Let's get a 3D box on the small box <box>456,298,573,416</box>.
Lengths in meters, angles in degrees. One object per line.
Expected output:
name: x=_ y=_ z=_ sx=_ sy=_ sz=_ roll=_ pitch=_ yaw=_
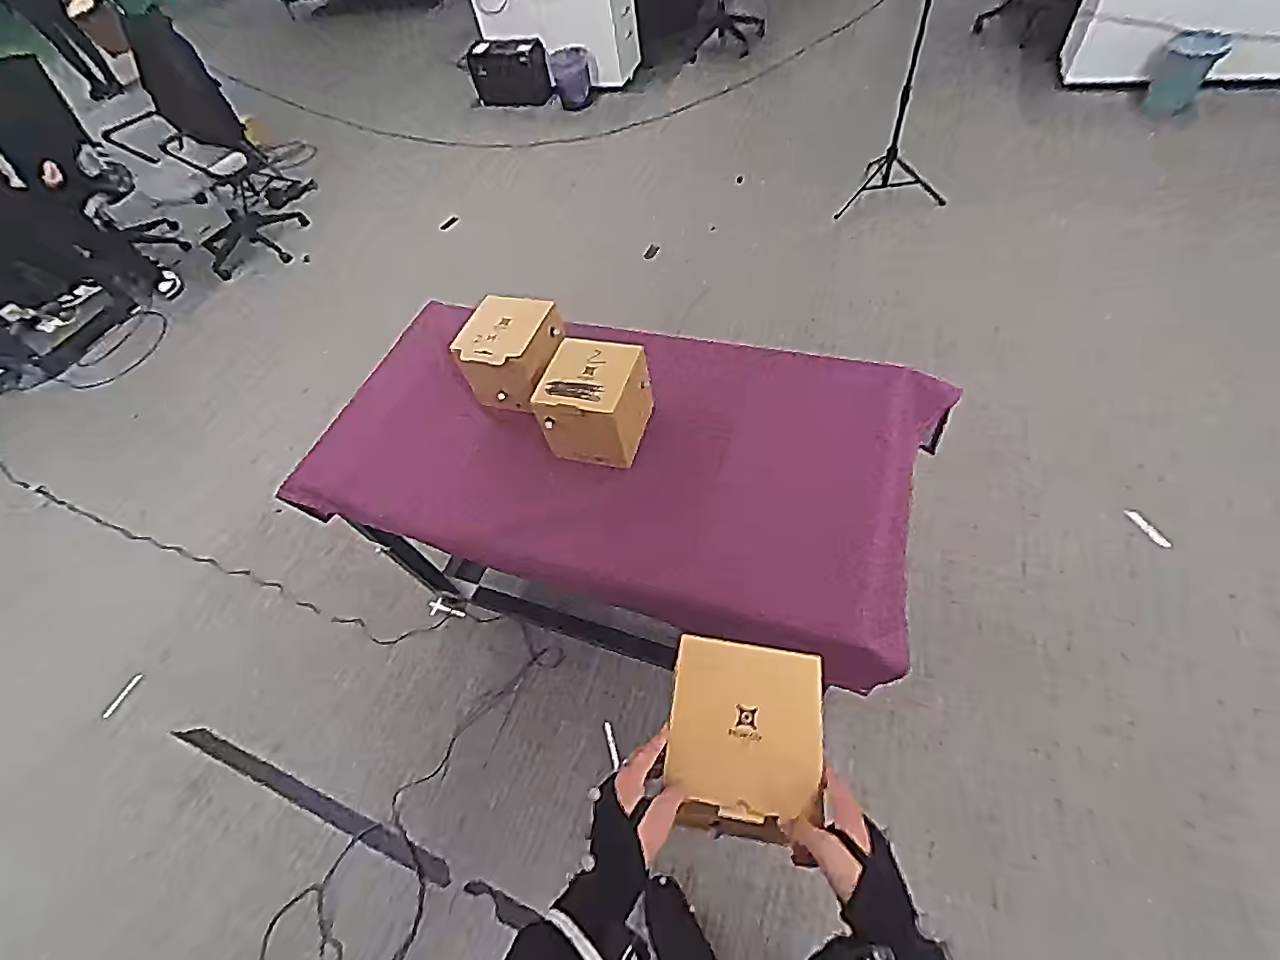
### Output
small box: x=-0.260 y=-0.266 z=1.175 sx=0.168 sy=0.176 sz=0.179 roll=11 pitch=59 yaw=17

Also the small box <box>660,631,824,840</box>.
small box: x=0.117 y=0.309 z=0.652 sx=0.168 sy=0.176 sz=0.179 roll=7 pitch=52 yaw=7
